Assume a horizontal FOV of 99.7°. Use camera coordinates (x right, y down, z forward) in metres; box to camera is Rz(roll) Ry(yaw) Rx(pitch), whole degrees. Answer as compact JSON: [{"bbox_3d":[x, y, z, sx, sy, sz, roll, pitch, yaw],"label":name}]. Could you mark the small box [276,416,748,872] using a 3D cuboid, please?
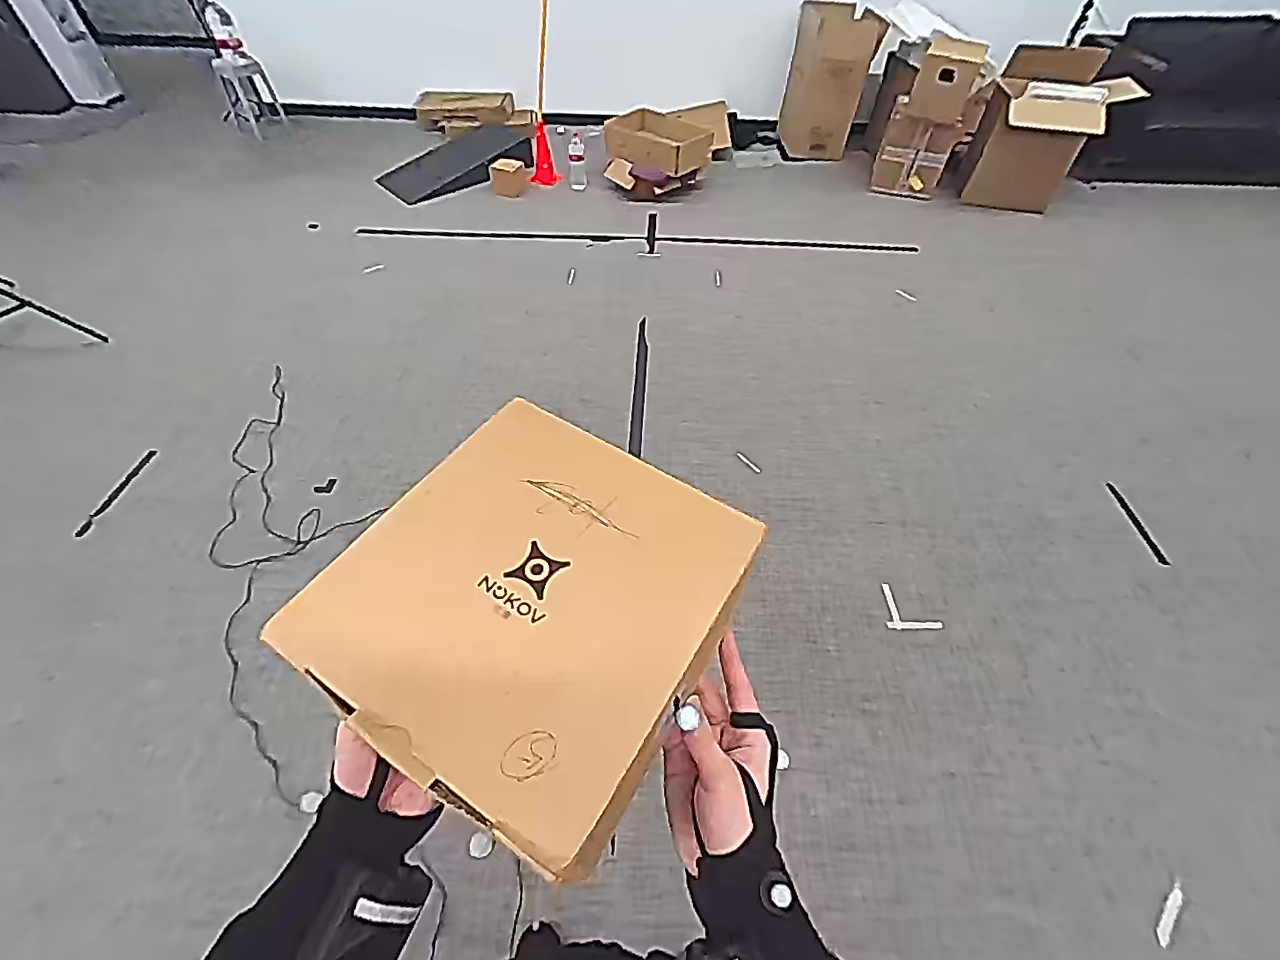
[{"bbox_3d":[-0.055,0.100,0.328,0.168,0.176,0.179,27,56,17],"label":"small box"}]
